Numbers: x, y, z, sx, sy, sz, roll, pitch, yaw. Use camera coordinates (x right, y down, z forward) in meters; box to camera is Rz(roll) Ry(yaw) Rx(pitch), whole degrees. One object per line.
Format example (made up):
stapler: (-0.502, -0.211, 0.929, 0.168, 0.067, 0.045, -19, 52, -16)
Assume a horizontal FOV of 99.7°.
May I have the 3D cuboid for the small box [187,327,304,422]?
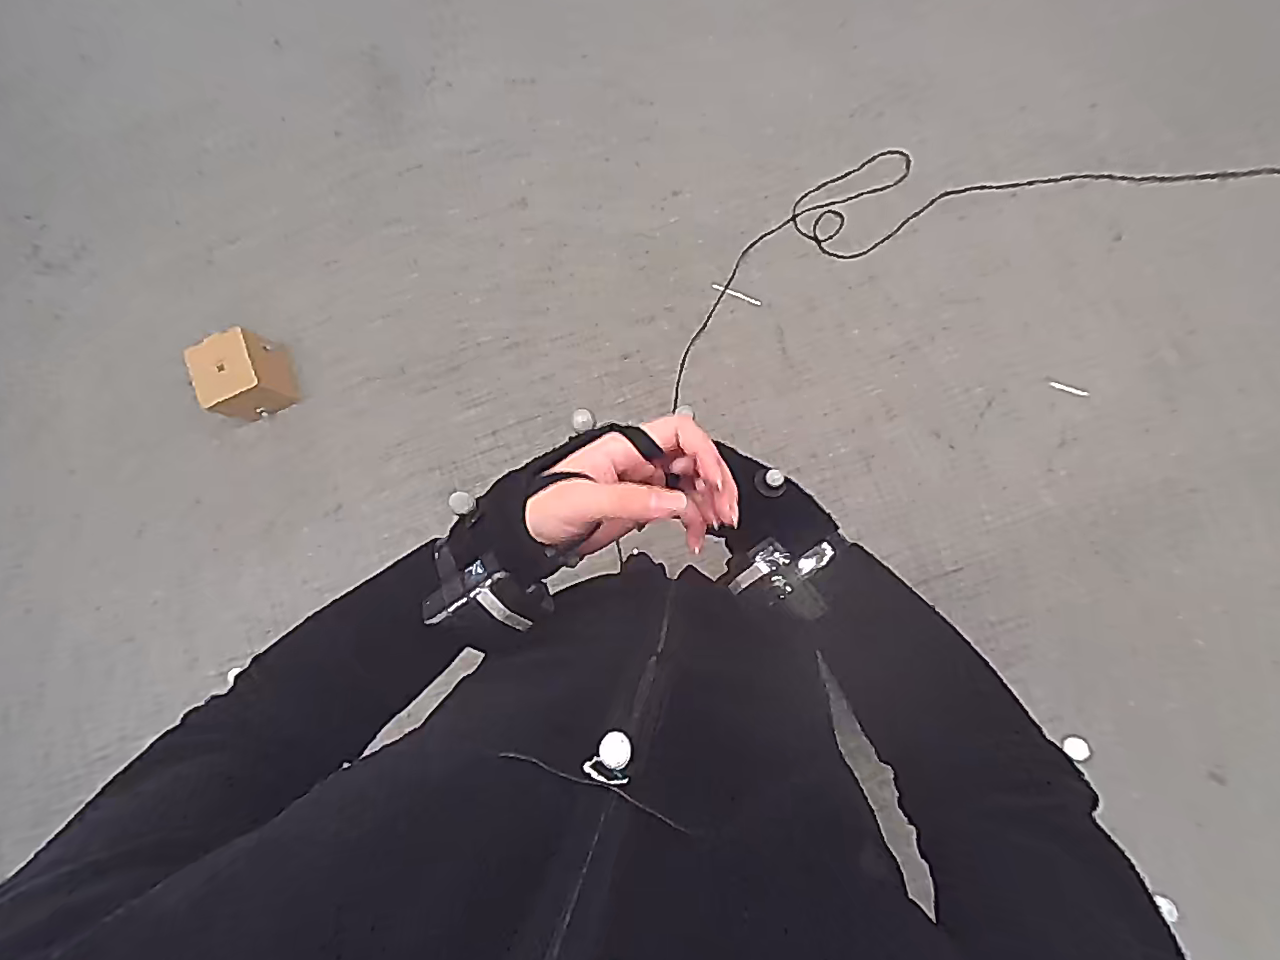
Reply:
small box: (-1.057, -0.278, 1.463, 0.168, 0.176, 0.179, -23, 83, 2)
